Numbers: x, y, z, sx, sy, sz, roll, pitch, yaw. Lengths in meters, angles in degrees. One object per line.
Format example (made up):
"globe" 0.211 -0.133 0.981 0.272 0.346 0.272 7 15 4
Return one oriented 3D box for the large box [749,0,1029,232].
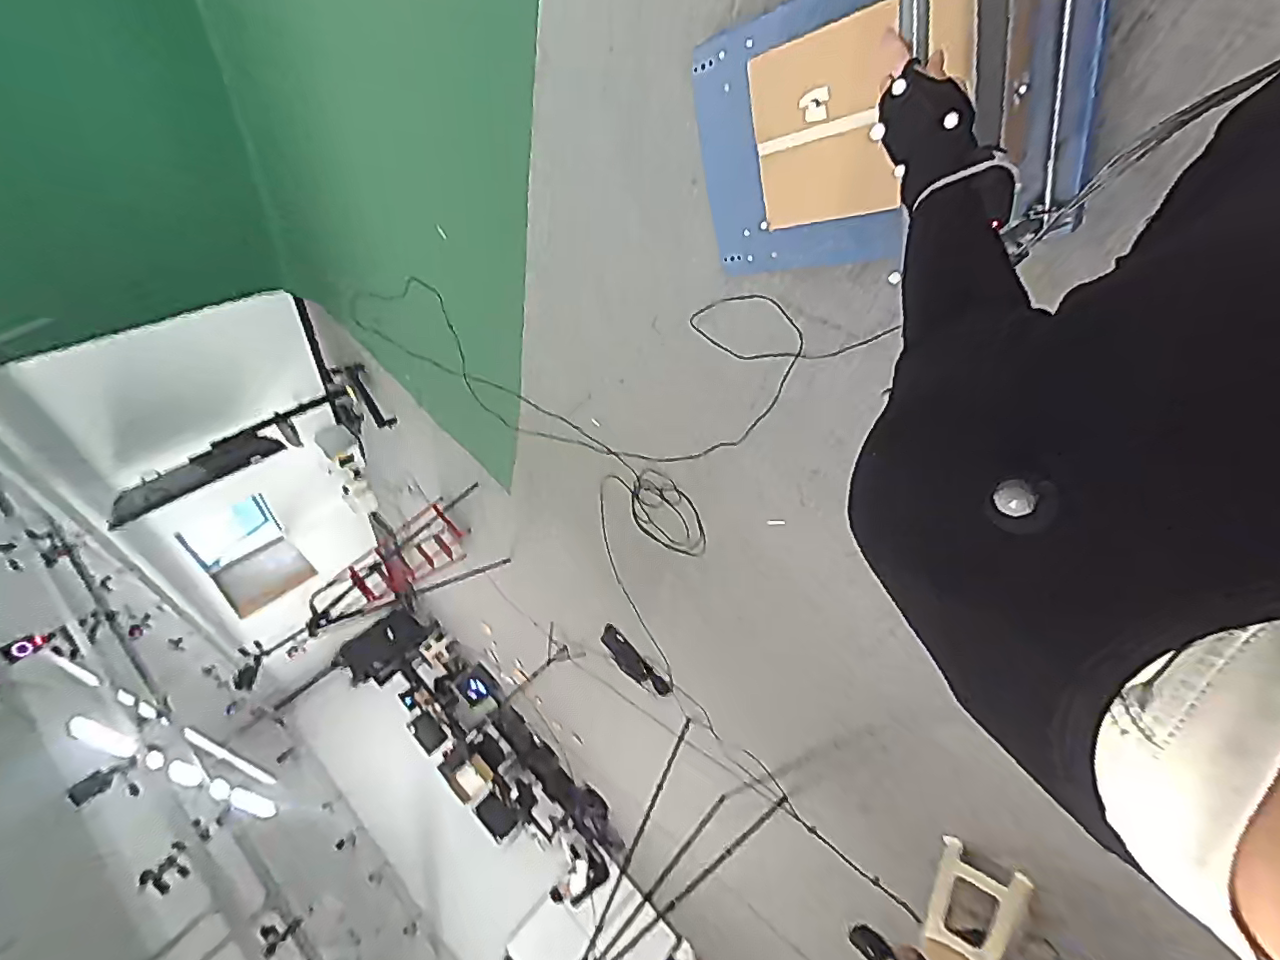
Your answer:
"large box" 0.488 -0.718 1.068 0.408 0.320 0.320 14 129 44
